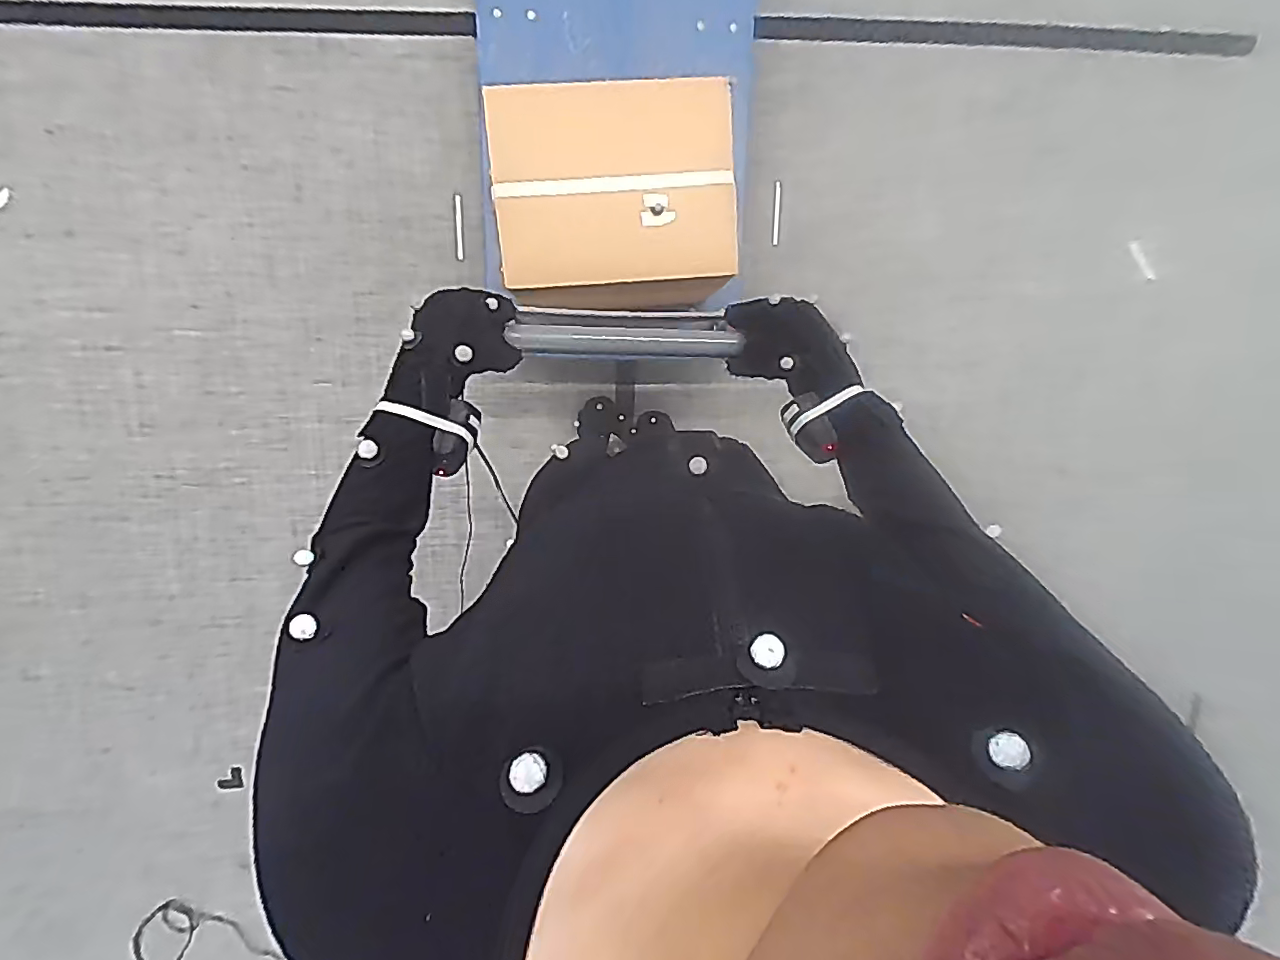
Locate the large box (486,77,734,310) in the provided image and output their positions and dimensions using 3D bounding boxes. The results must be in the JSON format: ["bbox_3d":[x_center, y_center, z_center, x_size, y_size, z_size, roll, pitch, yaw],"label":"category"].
[{"bbox_3d":[-0.057,-0.529,1.064,0.408,0.320,0.320,-6,101,-4],"label":"large box"}]
